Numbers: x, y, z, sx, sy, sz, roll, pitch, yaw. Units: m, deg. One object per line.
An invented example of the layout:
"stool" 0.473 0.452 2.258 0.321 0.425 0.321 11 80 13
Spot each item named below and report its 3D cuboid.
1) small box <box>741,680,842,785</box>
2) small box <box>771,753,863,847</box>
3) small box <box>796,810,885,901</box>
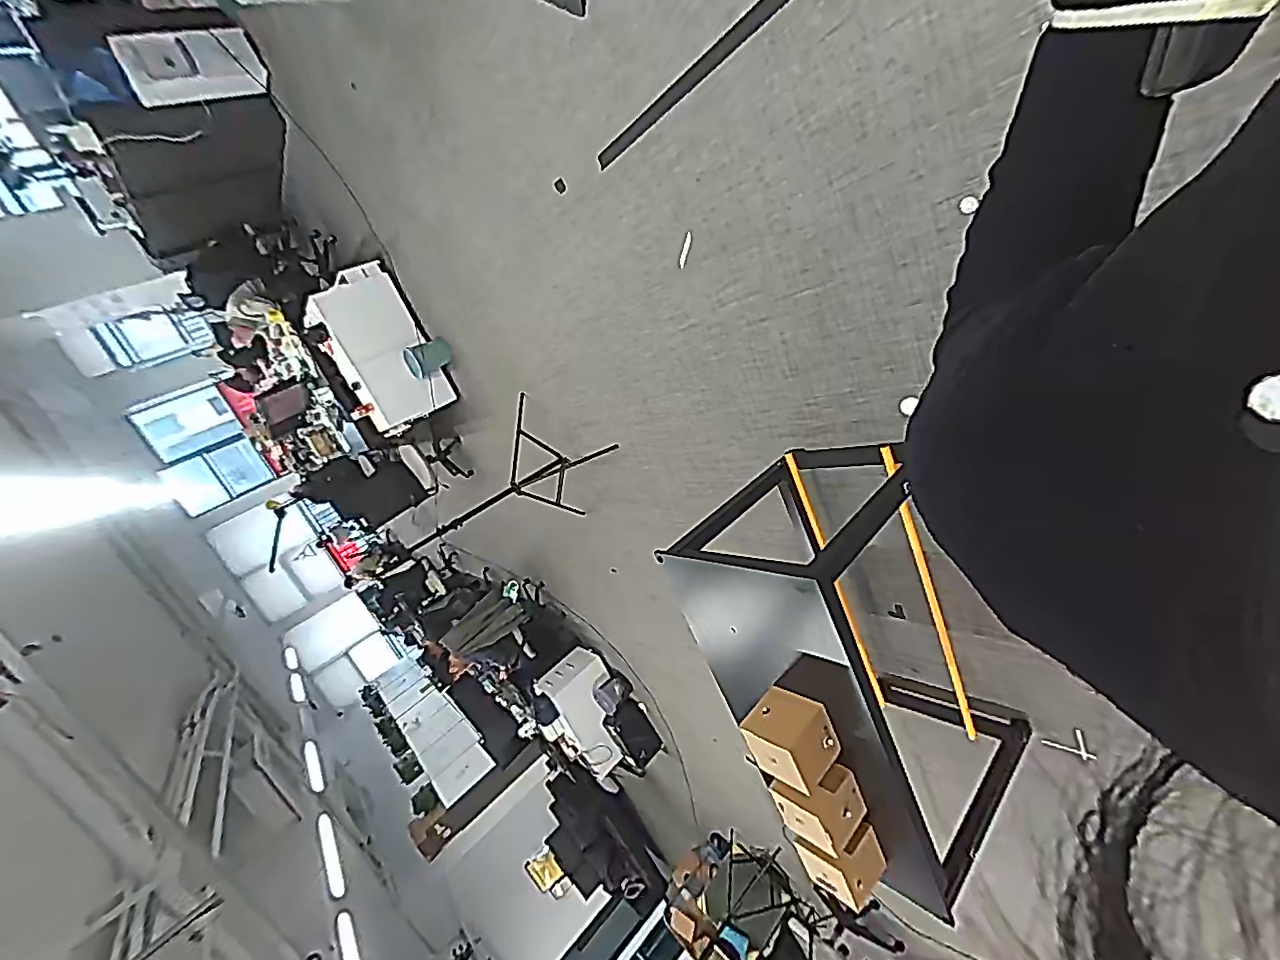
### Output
"small box" 0.417 0.680 1.483 0.179 0.176 0.168 -2 120 55
"small box" 0.515 0.887 1.549 0.179 0.176 0.168 0 119 55
"small box" 0.605 1.088 1.622 0.168 0.176 0.179 0 119 54
